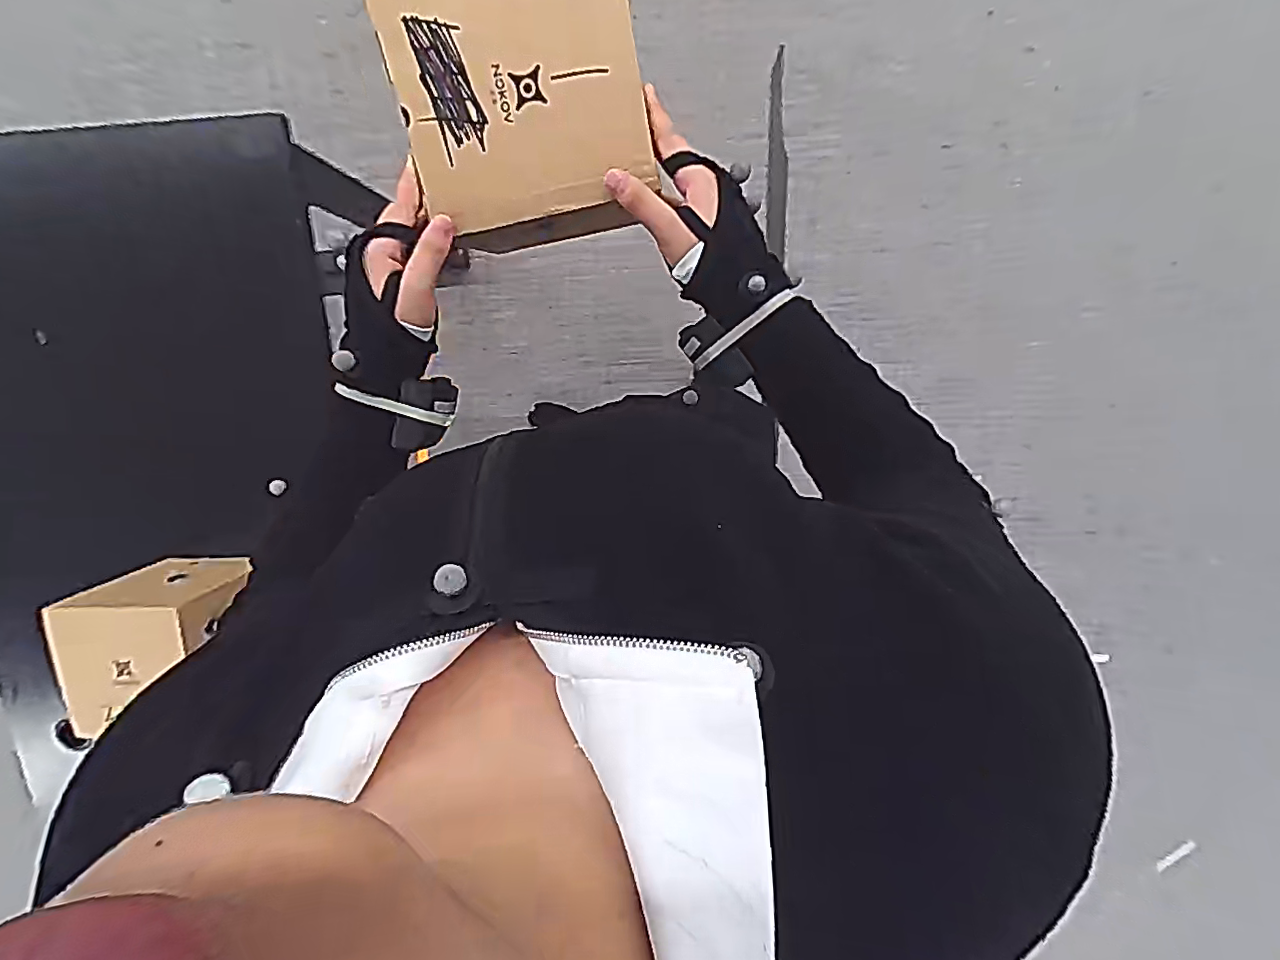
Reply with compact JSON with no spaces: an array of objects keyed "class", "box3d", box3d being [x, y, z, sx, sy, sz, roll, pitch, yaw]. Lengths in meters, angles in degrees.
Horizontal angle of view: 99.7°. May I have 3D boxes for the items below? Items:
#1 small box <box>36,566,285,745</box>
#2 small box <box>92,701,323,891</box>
[{"class":"small box","box3d":[-0.613,0.220,0.717,0.168,0.176,0.179,-1,102,2]},{"class":"small box","box3d":[-0.590,0.434,0.763,0.179,0.176,0.168,-3,103,1]}]
